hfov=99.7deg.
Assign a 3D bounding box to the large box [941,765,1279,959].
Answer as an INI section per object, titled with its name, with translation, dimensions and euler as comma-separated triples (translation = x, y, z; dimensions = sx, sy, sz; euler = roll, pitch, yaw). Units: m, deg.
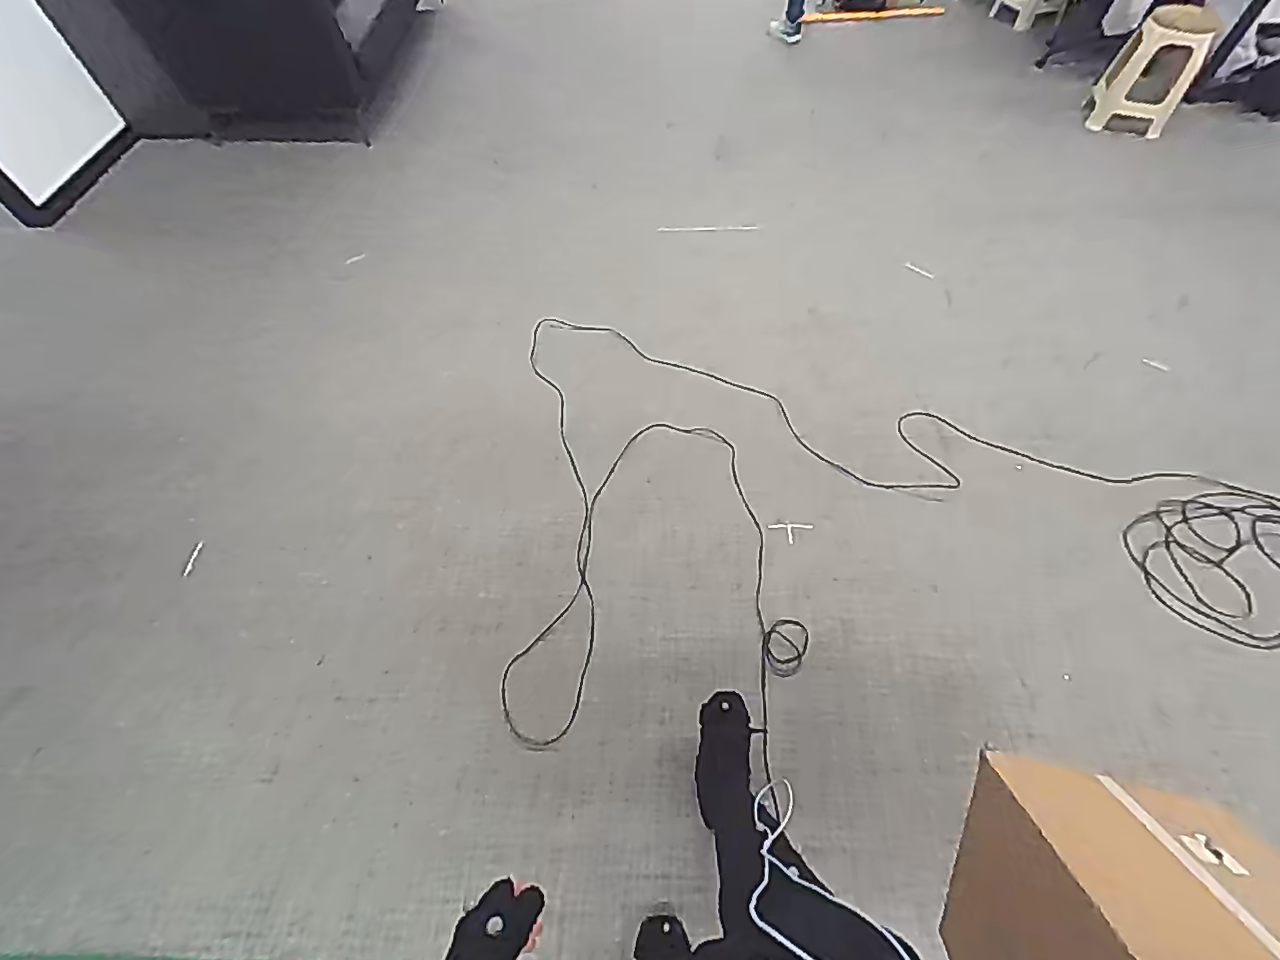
[large box]
translation = 0.605, 0.619, 0.622
dimensions = 0.320, 0.408, 0.320
euler = 10, 96, 9
